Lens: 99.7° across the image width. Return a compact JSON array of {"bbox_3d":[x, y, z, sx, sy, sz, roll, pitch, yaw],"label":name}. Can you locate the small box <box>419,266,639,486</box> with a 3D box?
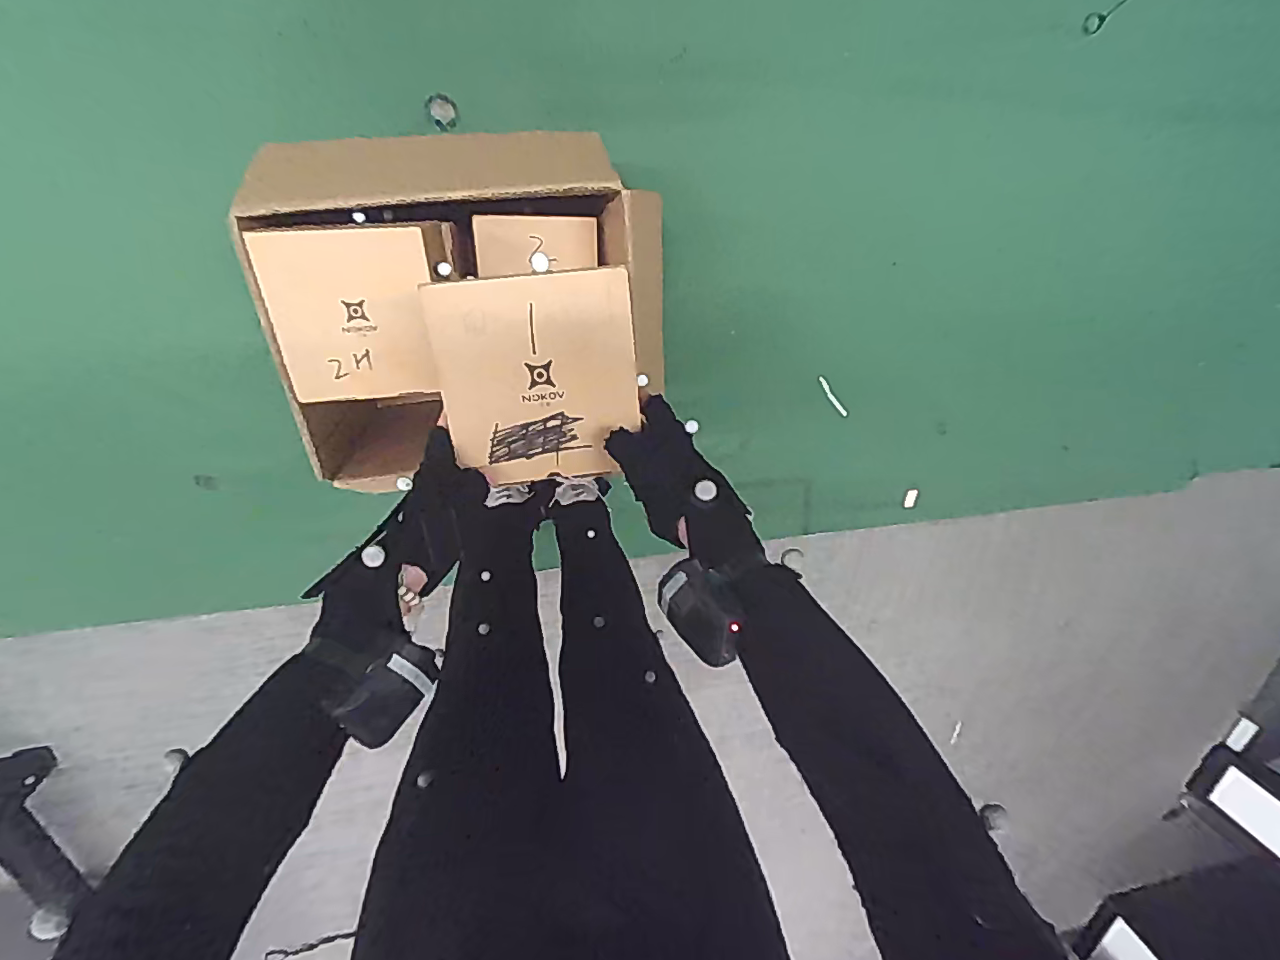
[{"bbox_3d":[-0.094,-0.111,0.531,0.168,0.176,0.179,-7,112,-4],"label":"small box"}]
